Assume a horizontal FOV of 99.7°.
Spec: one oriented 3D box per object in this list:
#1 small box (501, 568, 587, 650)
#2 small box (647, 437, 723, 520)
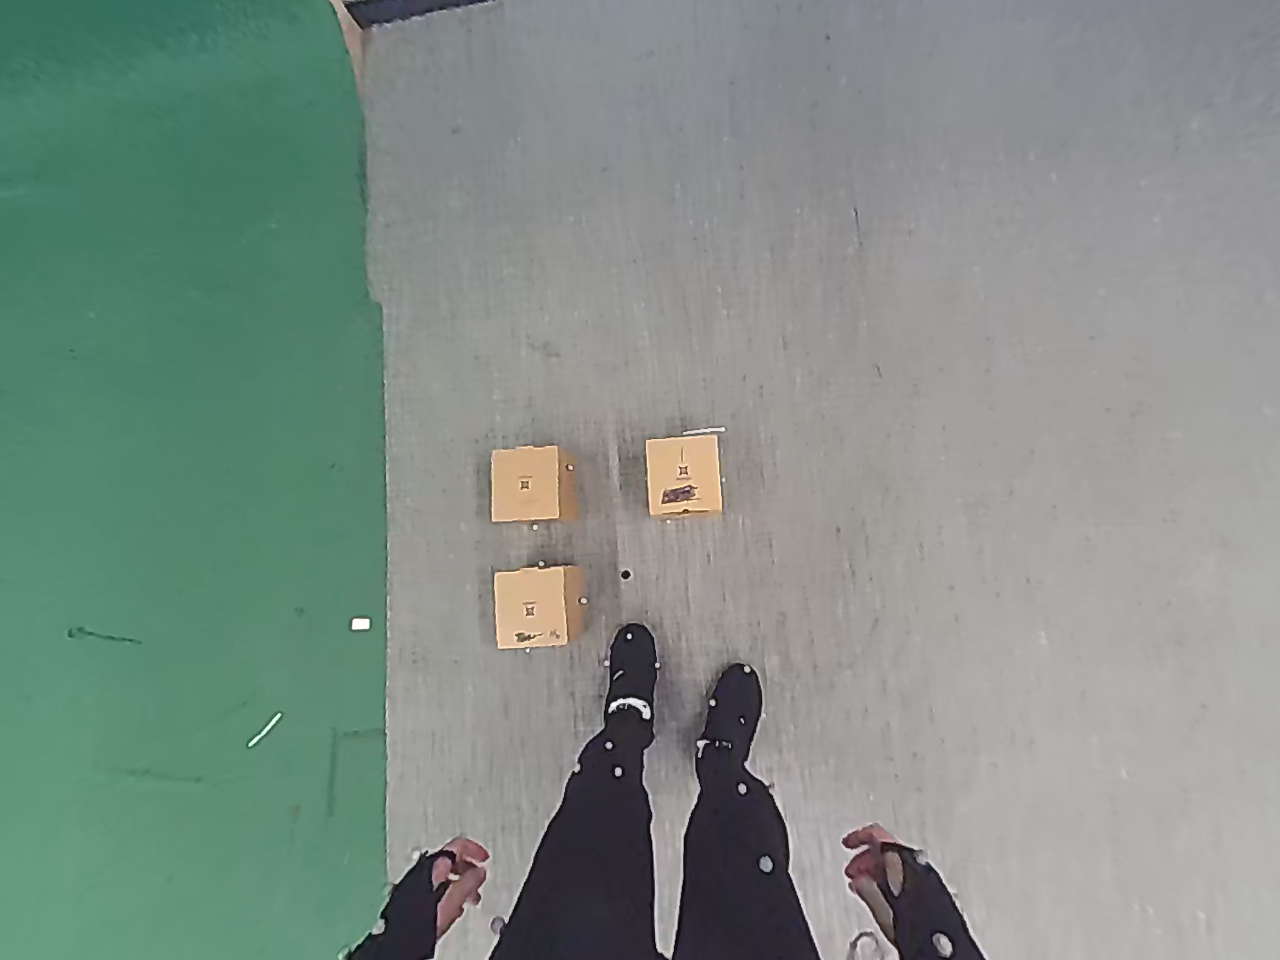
[{"bbox_3d":[-0.227,0.307,1.303,0.168,0.176,0.179,-6,80,7],"label":"small box"},{"bbox_3d":[0.112,0.004,1.297,0.168,0.176,0.179,-4,81,8],"label":"small box"}]
